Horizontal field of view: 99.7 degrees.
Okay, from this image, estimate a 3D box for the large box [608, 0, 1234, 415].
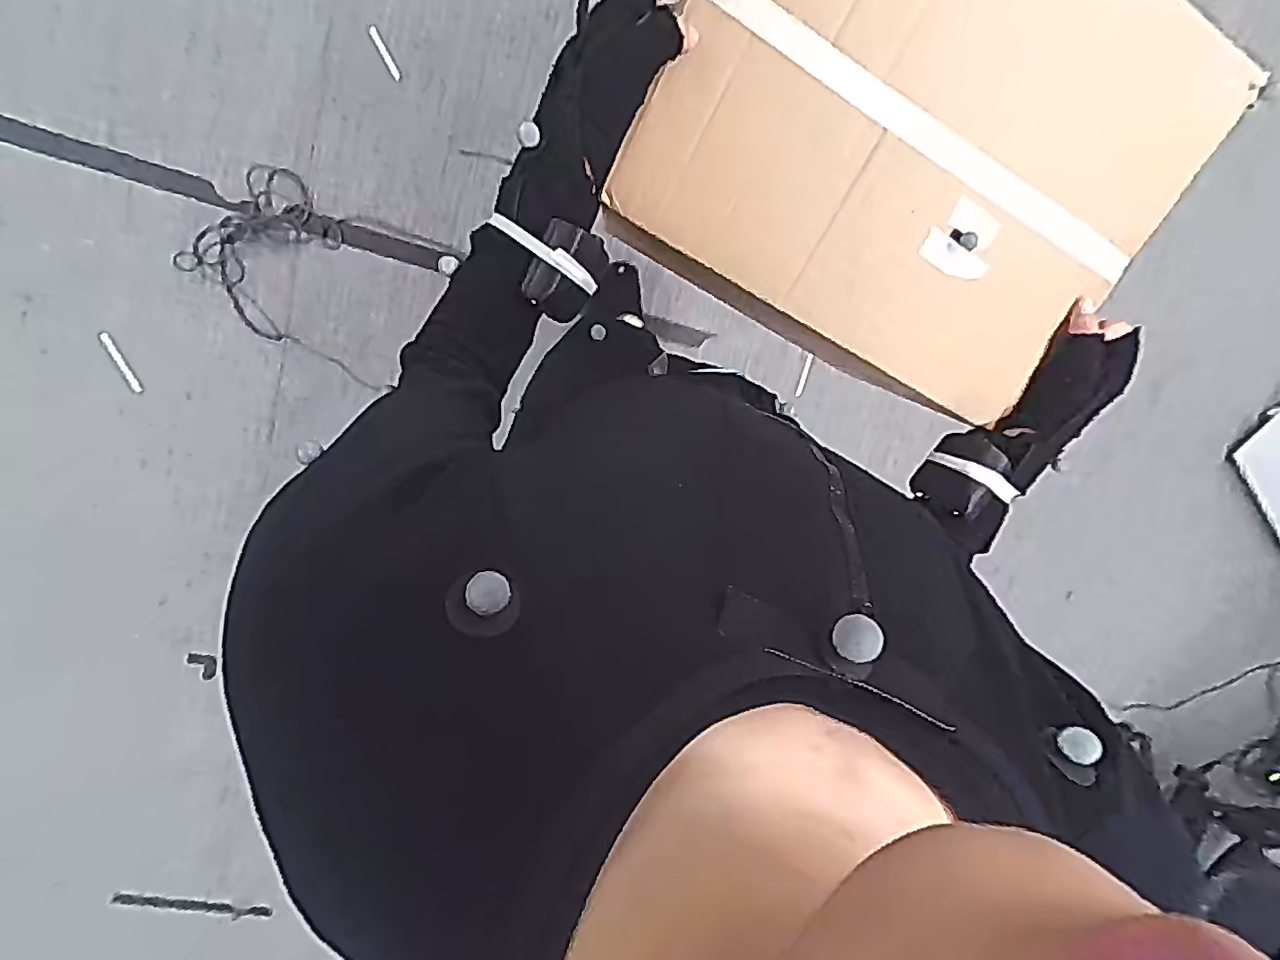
[{"bbox_3d":[0.209,-0.319,0.559,0.408,0.320,0.320,26,108,-13],"label":"large box"}]
